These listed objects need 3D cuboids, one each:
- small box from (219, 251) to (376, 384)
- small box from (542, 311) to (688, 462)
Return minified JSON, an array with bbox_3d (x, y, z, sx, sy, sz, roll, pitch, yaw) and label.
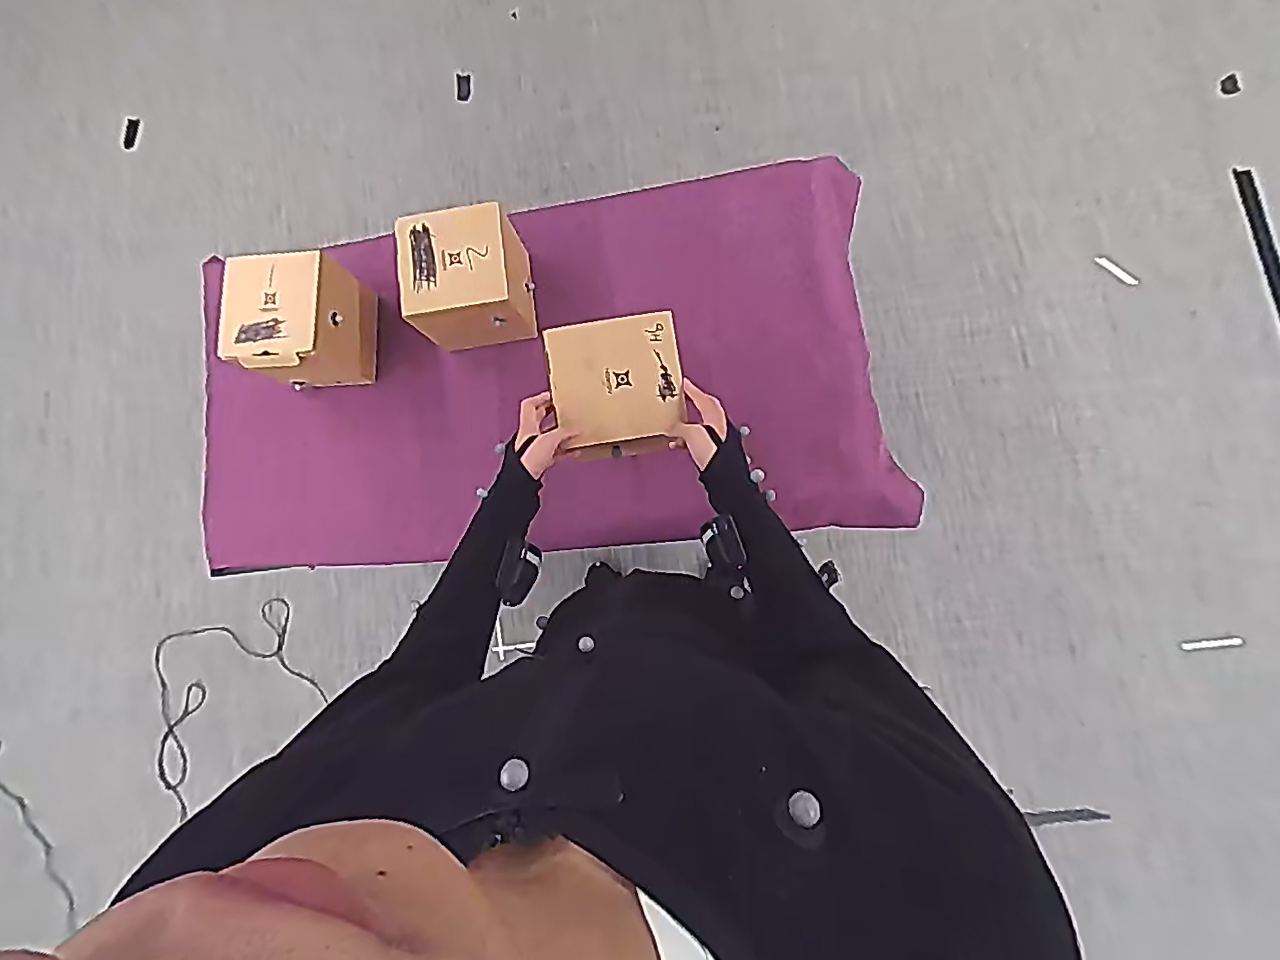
[{"bbox_3d":[-0.585,-0.270,0.942,0.168,0.176,0.179,-2,83,5],"label":"small box"},{"bbox_3d":[-0.031,-0.124,0.785,0.179,0.176,0.168,-9,86,0],"label":"small box"}]
